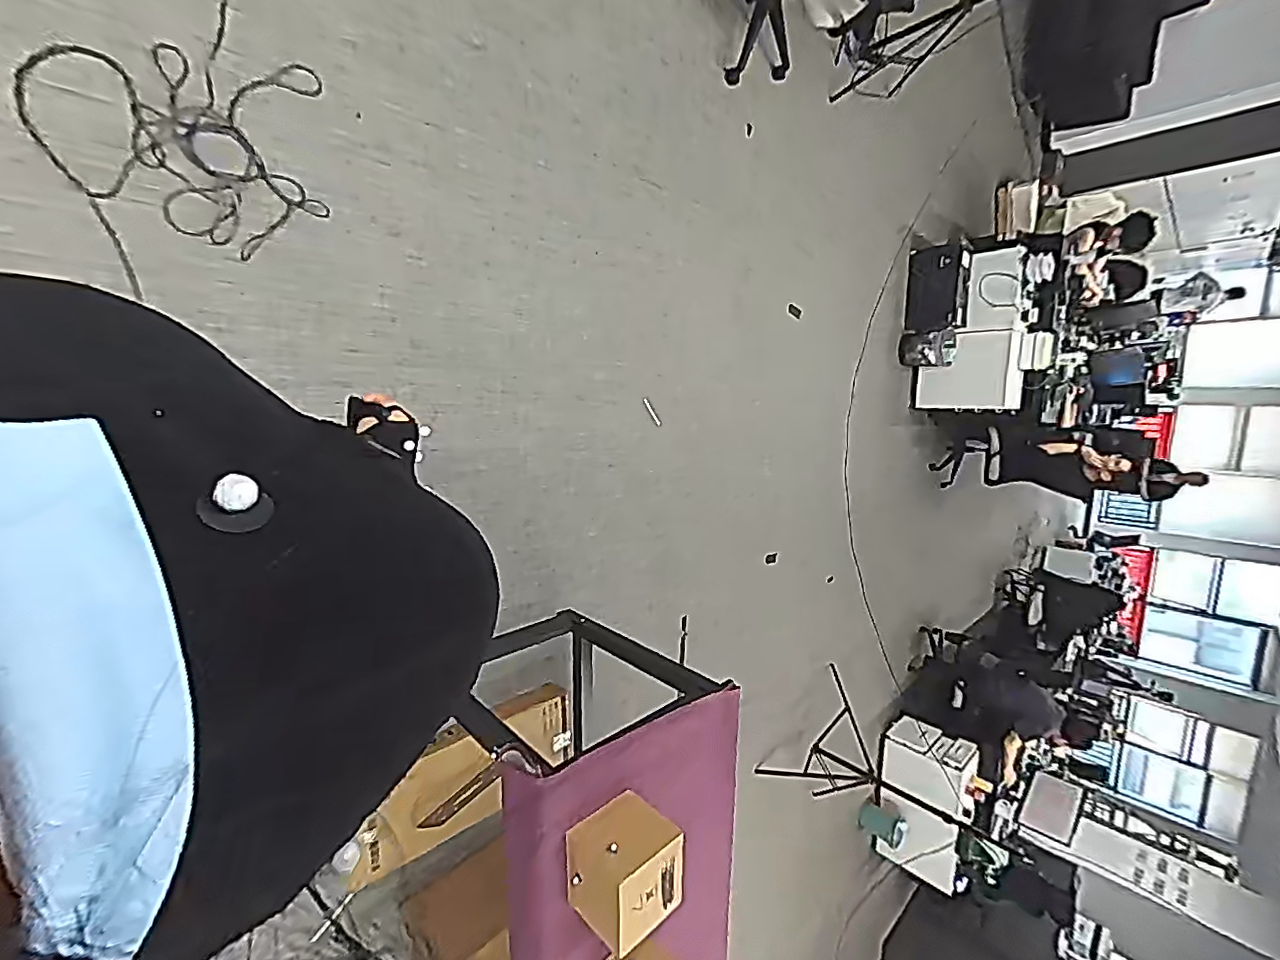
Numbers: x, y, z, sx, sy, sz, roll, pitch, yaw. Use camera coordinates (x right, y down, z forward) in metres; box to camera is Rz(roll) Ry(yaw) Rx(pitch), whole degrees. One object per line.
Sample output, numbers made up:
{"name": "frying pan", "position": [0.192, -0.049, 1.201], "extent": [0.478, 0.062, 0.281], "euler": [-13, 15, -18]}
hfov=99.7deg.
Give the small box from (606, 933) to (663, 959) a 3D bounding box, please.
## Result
{"name": "small box", "position": [-0.007, 1.177, 1.196], "extent": [0.168, 0.176, 0.179], "euler": [-10, 103, -45]}
